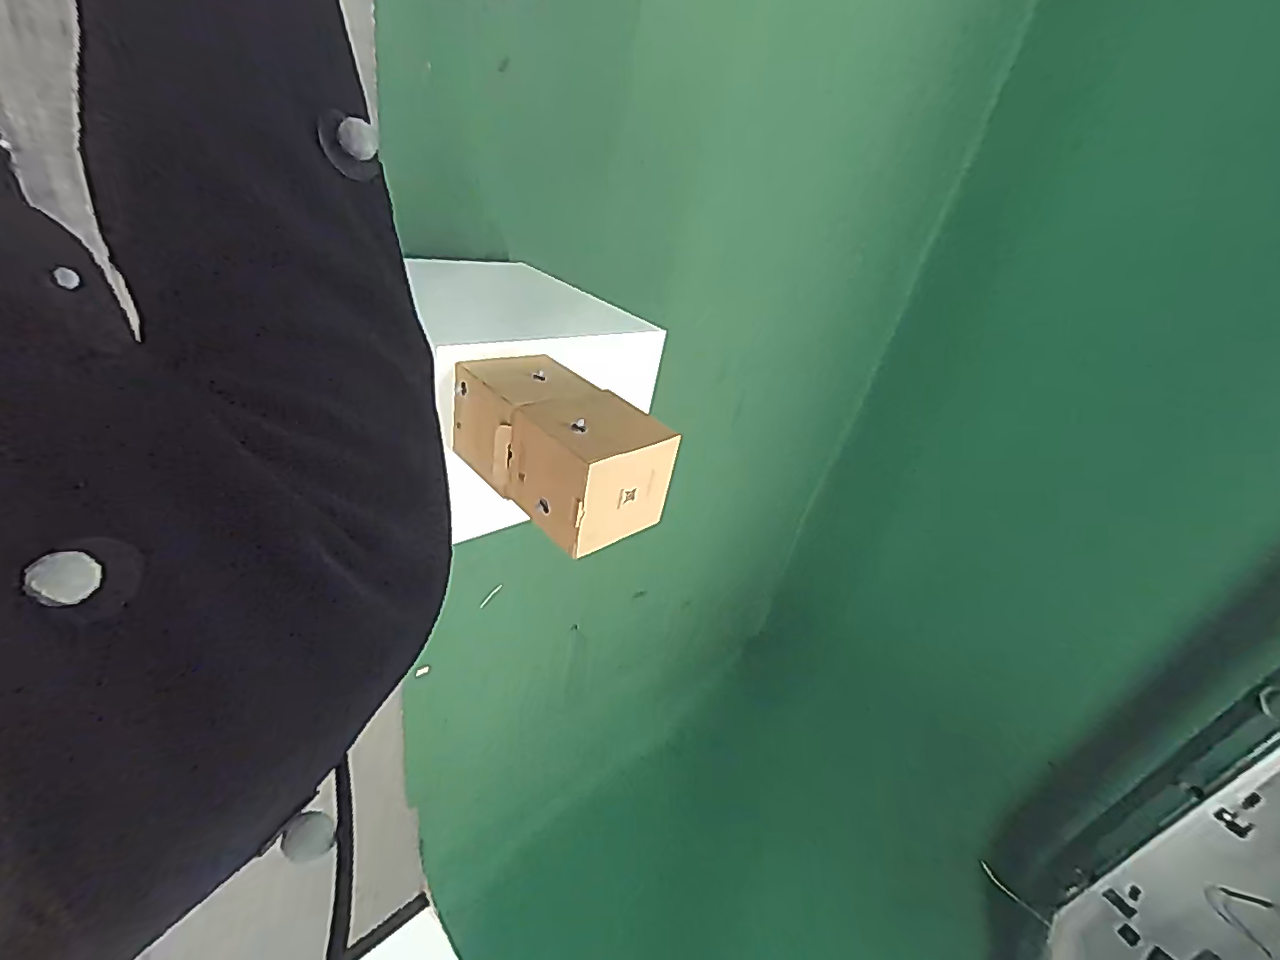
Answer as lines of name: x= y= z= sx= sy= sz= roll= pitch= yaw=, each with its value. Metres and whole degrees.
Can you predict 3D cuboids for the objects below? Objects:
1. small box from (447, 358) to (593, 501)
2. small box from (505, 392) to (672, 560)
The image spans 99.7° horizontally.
small box: x=-0.202 y=-0.092 z=0.897 sx=0.179 sy=0.176 sz=0.168 roll=-19 pitch=133 yaw=-43
small box: x=-0.084 y=-0.016 z=0.813 sx=0.179 sy=0.176 sz=0.168 roll=-22 pitch=137 yaw=-42
